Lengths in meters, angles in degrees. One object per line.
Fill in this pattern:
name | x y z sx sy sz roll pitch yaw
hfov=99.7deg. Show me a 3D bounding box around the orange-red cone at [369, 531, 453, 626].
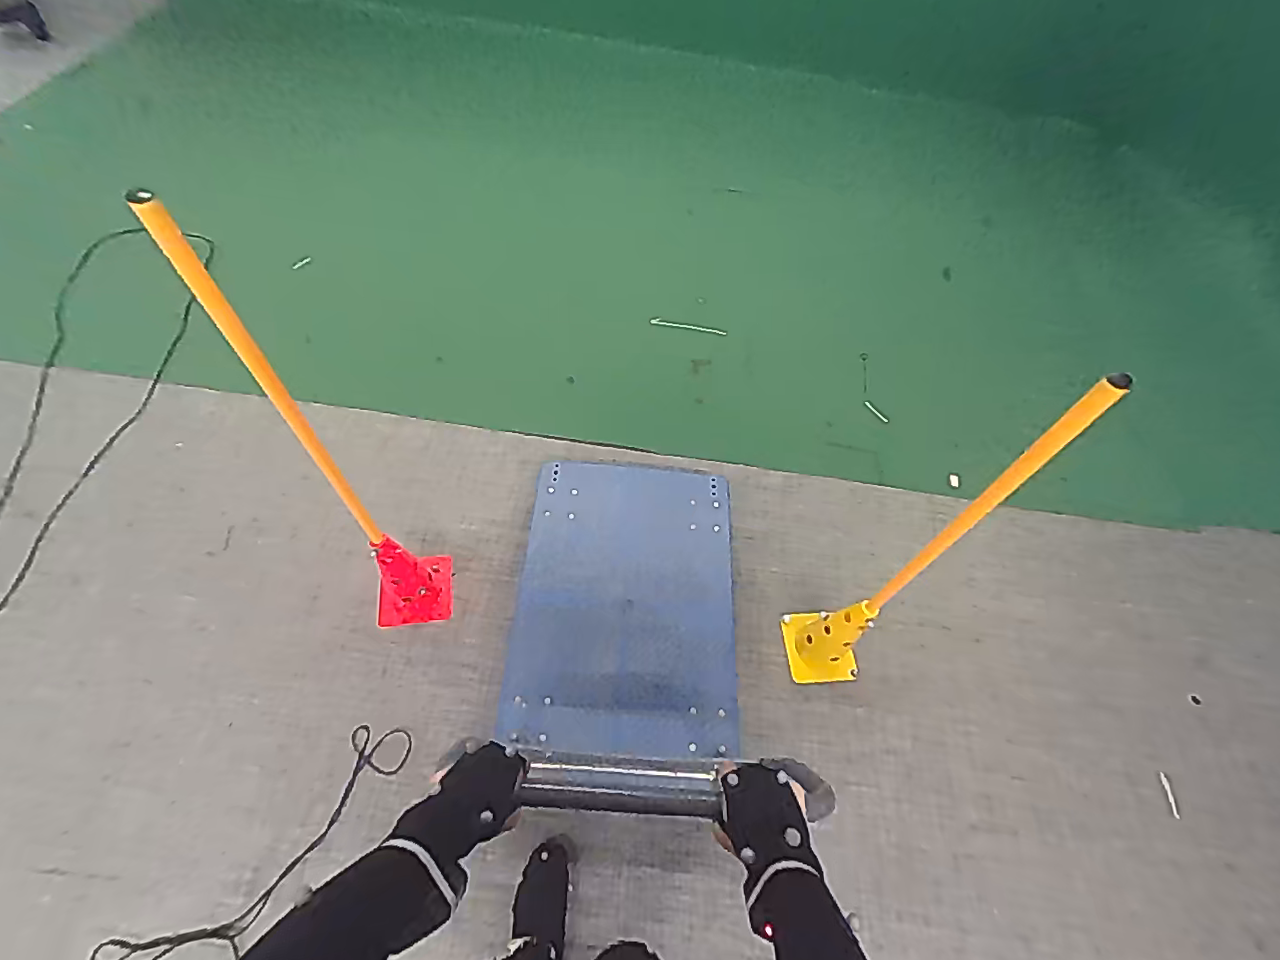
orange-red cone | -0.633 0.228 1.412 0.199 0.360 0.198 -5 59 -8
